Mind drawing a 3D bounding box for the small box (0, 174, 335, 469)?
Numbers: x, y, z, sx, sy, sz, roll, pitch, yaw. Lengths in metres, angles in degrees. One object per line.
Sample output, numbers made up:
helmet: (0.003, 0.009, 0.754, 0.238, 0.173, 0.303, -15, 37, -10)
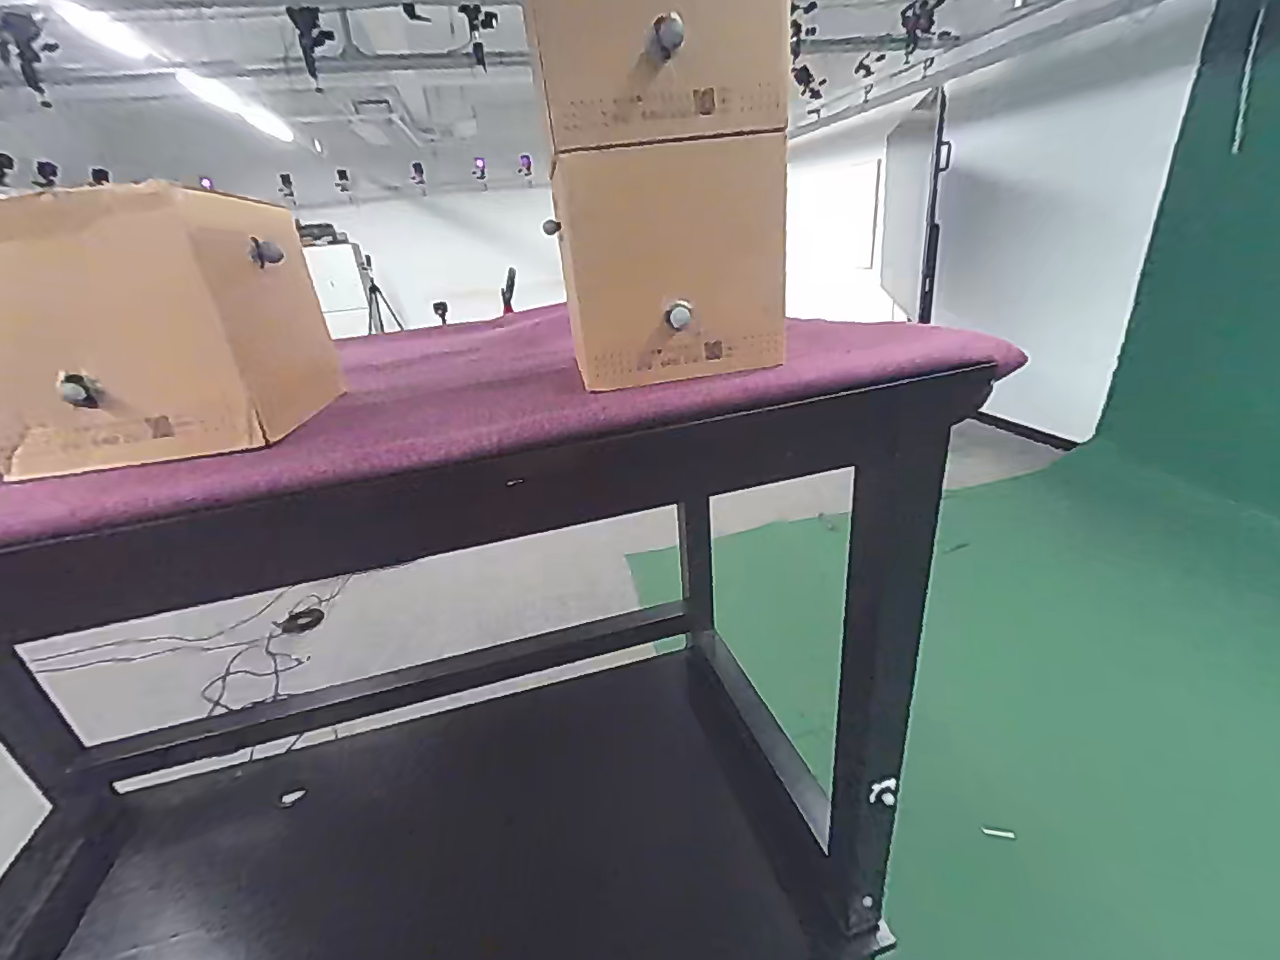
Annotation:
small box: (-0.360, -0.121, 0.411, 0.168, 0.176, 0.179, -10, 24, -7)

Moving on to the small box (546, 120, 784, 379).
small box: (0.014, -0.194, 0.473, 0.168, 0.176, 0.179, -10, 26, -6)

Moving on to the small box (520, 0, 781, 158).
small box: (-0.004, -0.344, 0.405, 0.168, 0.176, 0.179, -10, 25, -6)
